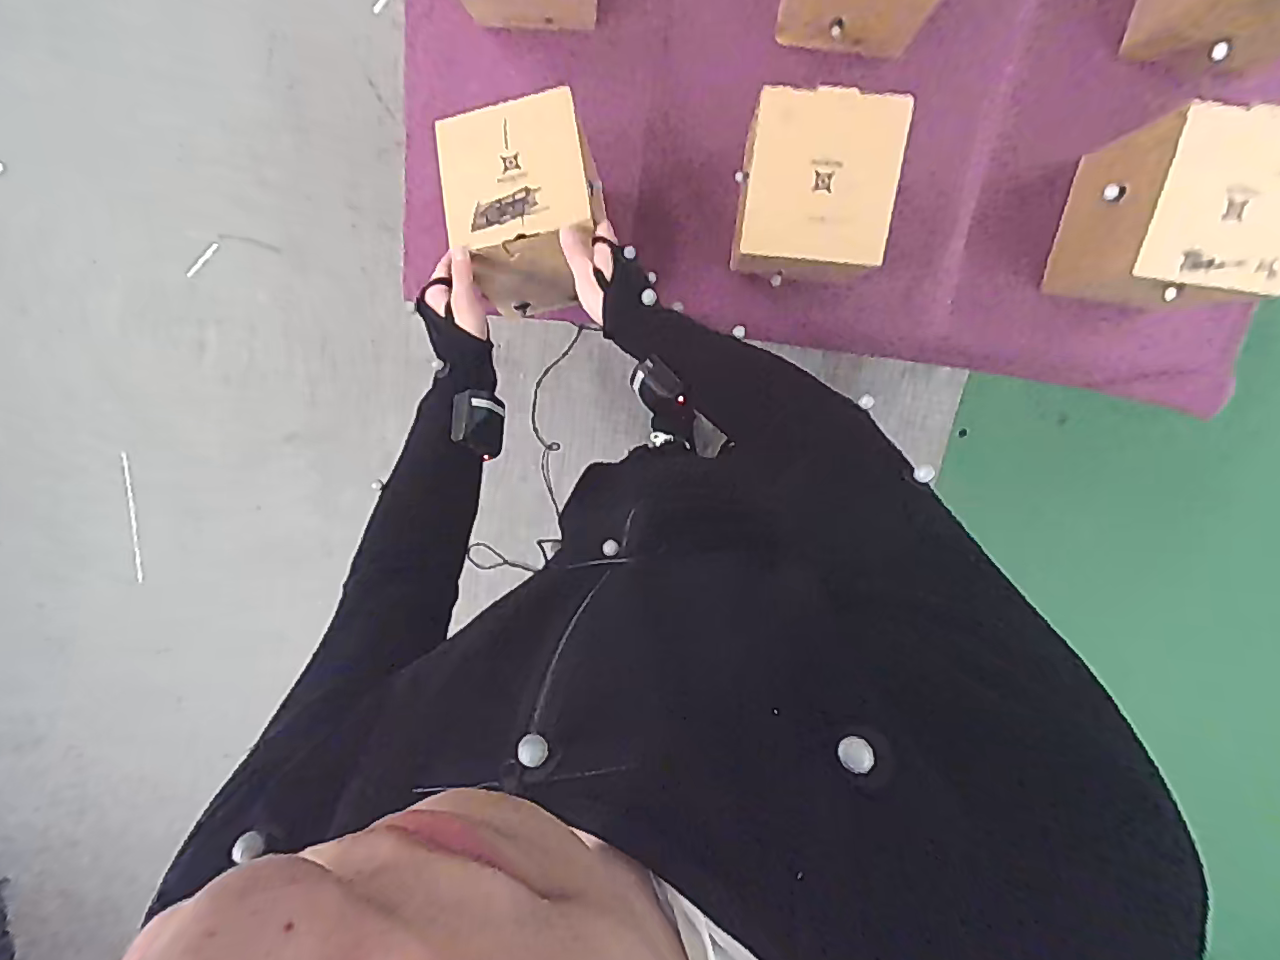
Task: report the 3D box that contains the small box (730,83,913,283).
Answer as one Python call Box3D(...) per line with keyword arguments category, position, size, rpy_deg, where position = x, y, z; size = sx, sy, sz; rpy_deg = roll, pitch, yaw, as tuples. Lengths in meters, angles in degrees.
Box3D(category="small box", position=(0.212, -0.357, 0.683), size=(0.168, 0.176, 0.179), rpy_deg=(8, 105, 3))

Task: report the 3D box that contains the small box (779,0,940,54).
Box3D(category="small box", position=(0.264, -0.630, 0.609), size=(0.168, 0.176, 0.179), rpy_deg=(9, 106, 2))

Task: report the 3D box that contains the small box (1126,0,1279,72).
Box3D(category="small box", position=(0.690, -0.587, 0.582), size=(0.168, 0.176, 0.179), rpy_deg=(10, 106, 4))

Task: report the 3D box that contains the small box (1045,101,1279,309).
Box3D(category="small box", position=(0.644, -0.316, 0.658), size=(0.168, 0.176, 0.179), rpy_deg=(10, 103, 3))

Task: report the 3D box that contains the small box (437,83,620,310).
Box3D(category="small box", position=(-0.128, -0.331, 0.674), size=(0.168, 0.176, 0.179), rpy_deg=(-11, 80, 7))
